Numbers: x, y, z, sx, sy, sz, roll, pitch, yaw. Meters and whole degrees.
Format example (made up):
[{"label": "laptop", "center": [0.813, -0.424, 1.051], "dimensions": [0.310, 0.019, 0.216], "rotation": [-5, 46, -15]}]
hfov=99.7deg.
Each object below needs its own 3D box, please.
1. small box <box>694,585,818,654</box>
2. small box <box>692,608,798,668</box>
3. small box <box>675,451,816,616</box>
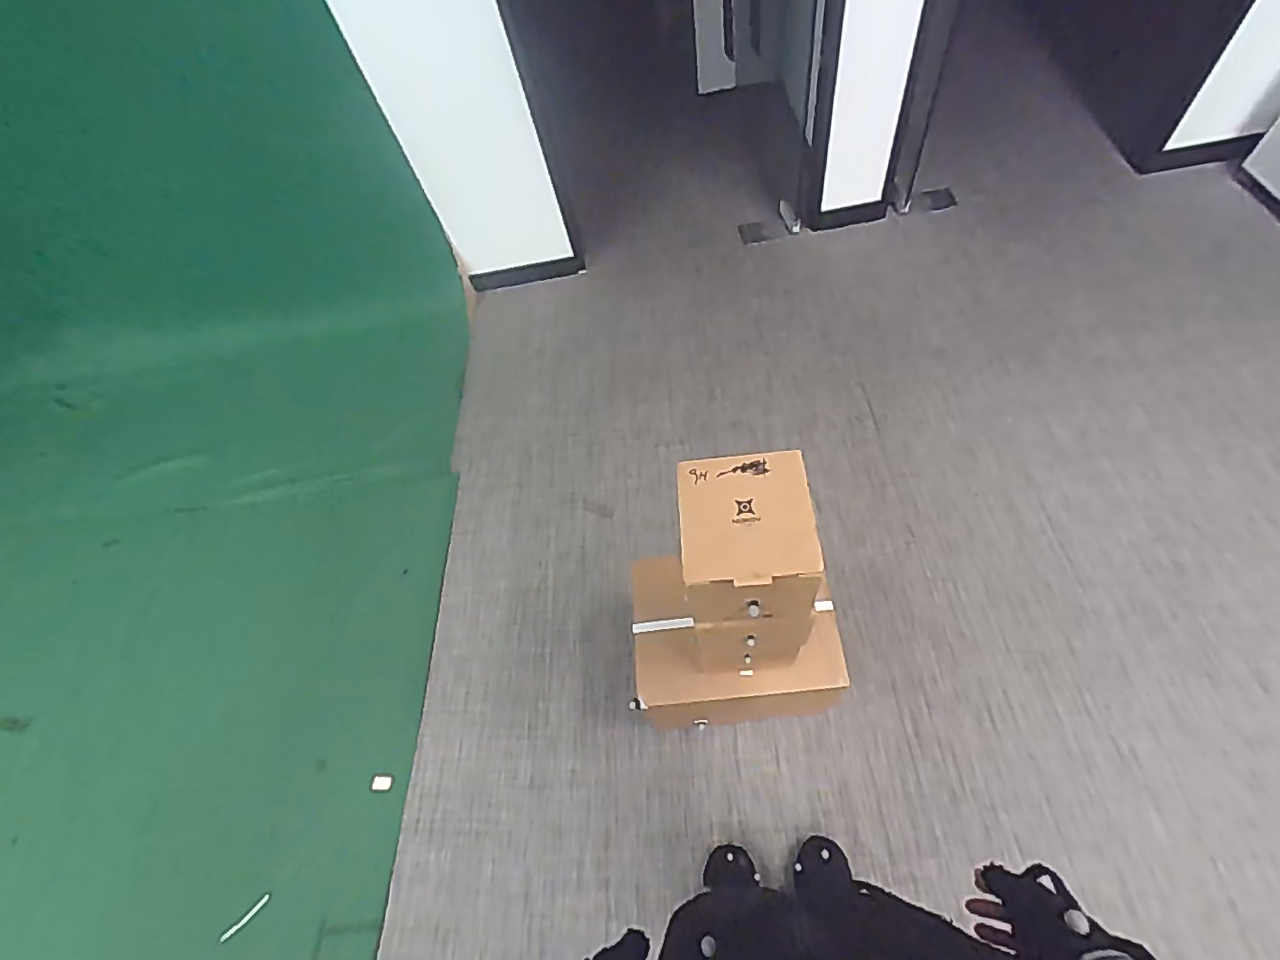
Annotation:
[{"label": "small box", "center": [0.171, 0.174, 0.877], "dimensions": [0.179, 0.176, 0.168], "rotation": [-10, 59, 4]}, {"label": "small box", "center": [0.190, 0.252, 1.020], "dimensions": [0.179, 0.176, 0.168], "rotation": [-6, 59, 6]}, {"label": "small box", "center": [0.142, 0.083, 0.744], "dimensions": [0.168, 0.176, 0.179], "rotation": [-5, 60, 9]}]
